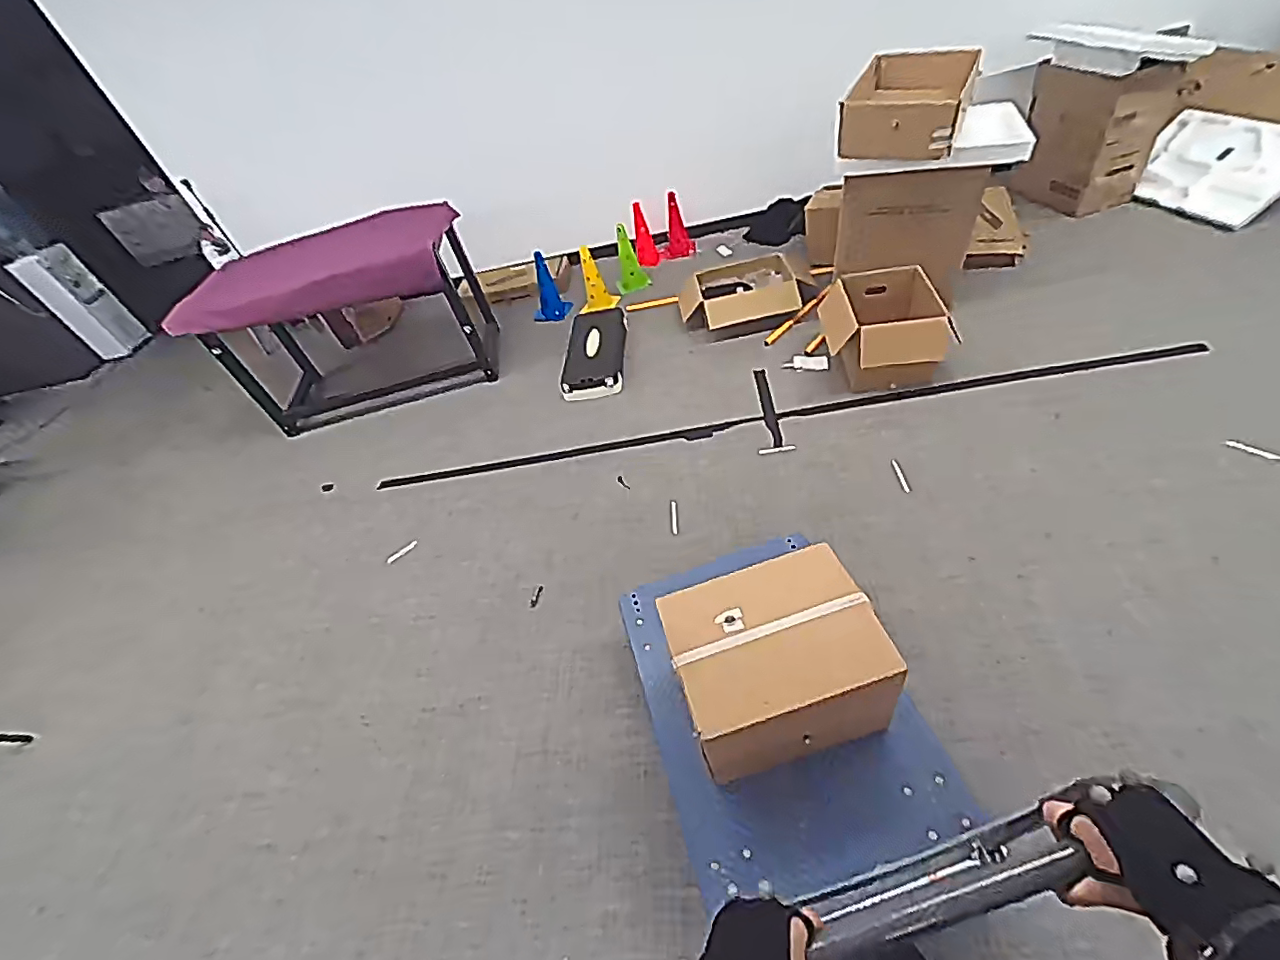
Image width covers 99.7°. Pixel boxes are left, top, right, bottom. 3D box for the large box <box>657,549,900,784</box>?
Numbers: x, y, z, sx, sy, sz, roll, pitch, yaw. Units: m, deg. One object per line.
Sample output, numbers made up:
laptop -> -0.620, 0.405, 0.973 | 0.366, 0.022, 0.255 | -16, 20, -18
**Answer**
large box -> 0.294, 0.418, 1.206 | 0.408, 0.320, 0.320 | -19, 45, -1
